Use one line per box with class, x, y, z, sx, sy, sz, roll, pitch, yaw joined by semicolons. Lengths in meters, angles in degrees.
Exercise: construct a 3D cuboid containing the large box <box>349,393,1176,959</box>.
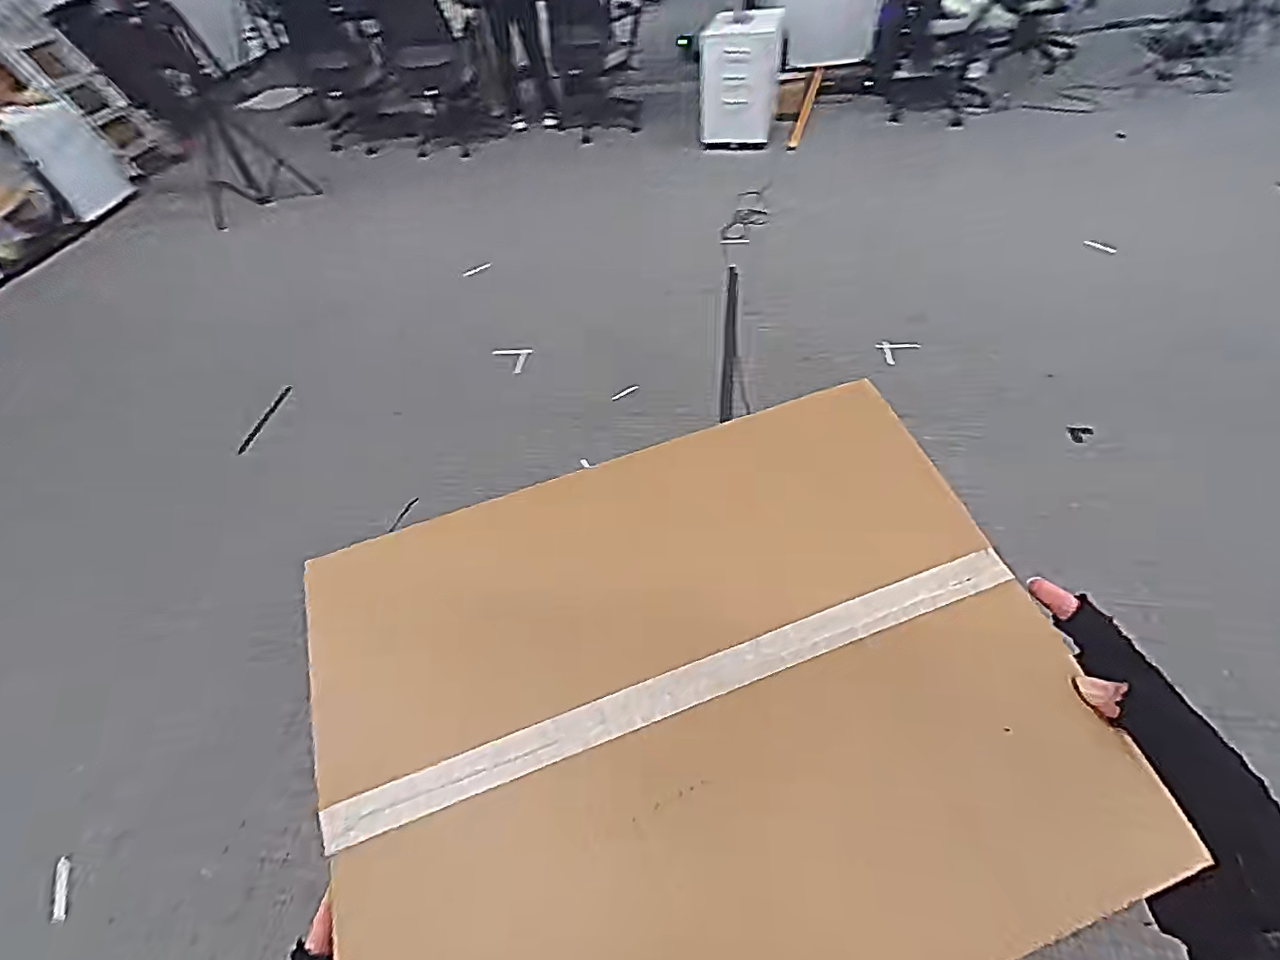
large box;0.045;0.191;0.449;0.408;0.320;0.320;-18;63;-7
